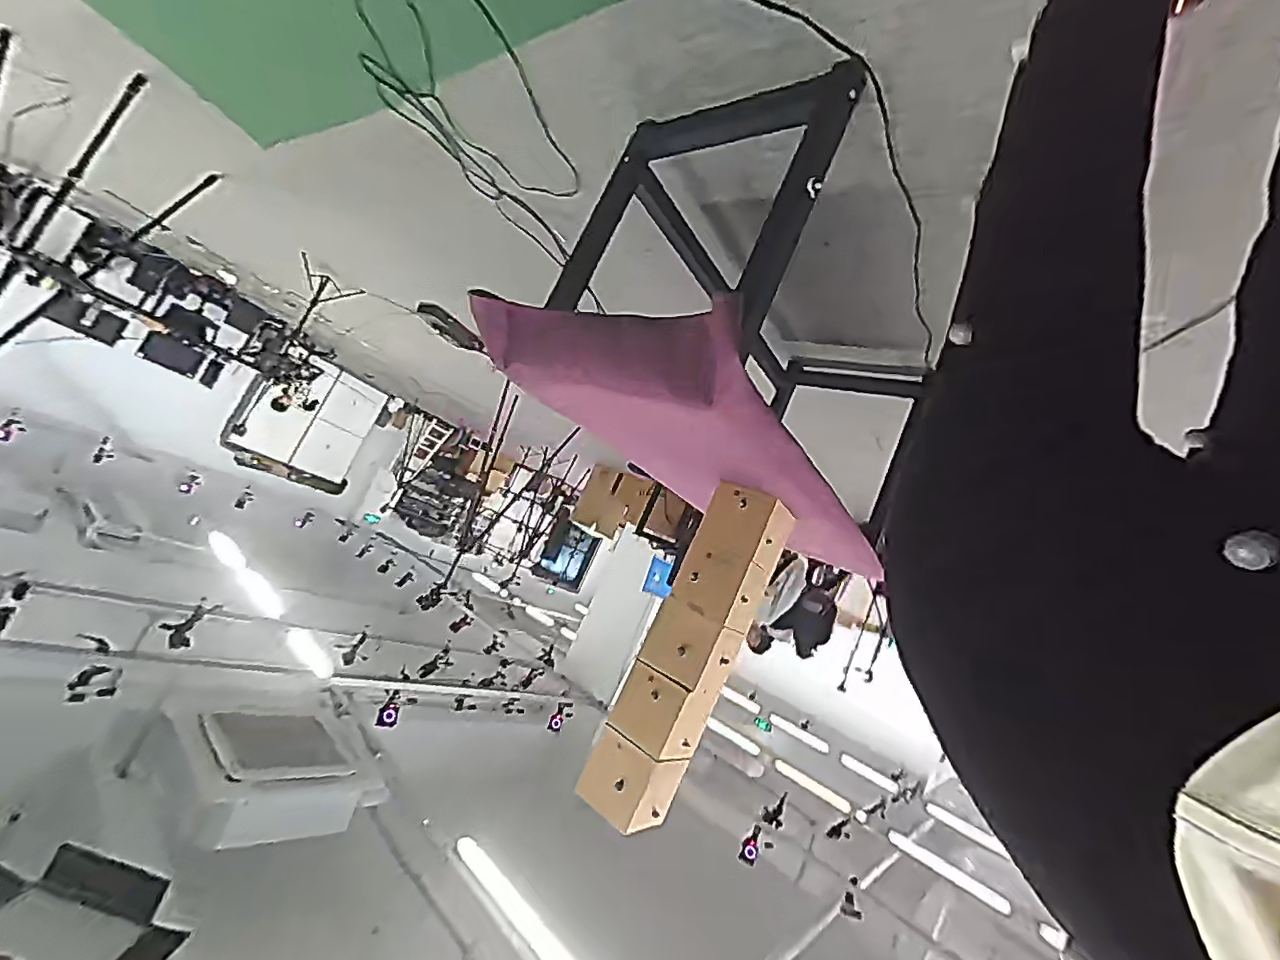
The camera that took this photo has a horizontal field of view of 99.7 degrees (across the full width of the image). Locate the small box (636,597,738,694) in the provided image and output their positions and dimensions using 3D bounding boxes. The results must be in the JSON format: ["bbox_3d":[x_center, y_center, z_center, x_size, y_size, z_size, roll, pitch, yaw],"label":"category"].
[{"bbox_3d":[0.126,0.409,1.342,0.179,0.176,0.168,20,168,35],"label":"small box"}]

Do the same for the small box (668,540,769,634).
[{"bbox_3d":[0.202,0.266,1.363,0.168,0.176,0.179,20,170,35],"label":"small box"}]

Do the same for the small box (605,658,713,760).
[{"bbox_3d":[0.052,0.554,1.319,0.168,0.176,0.179,20,168,37],"label":"small box"}]

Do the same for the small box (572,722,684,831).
[{"bbox_3d":[-0.023,0.695,1.291,0.168,0.176,0.179,20,170,37],"label":"small box"}]
